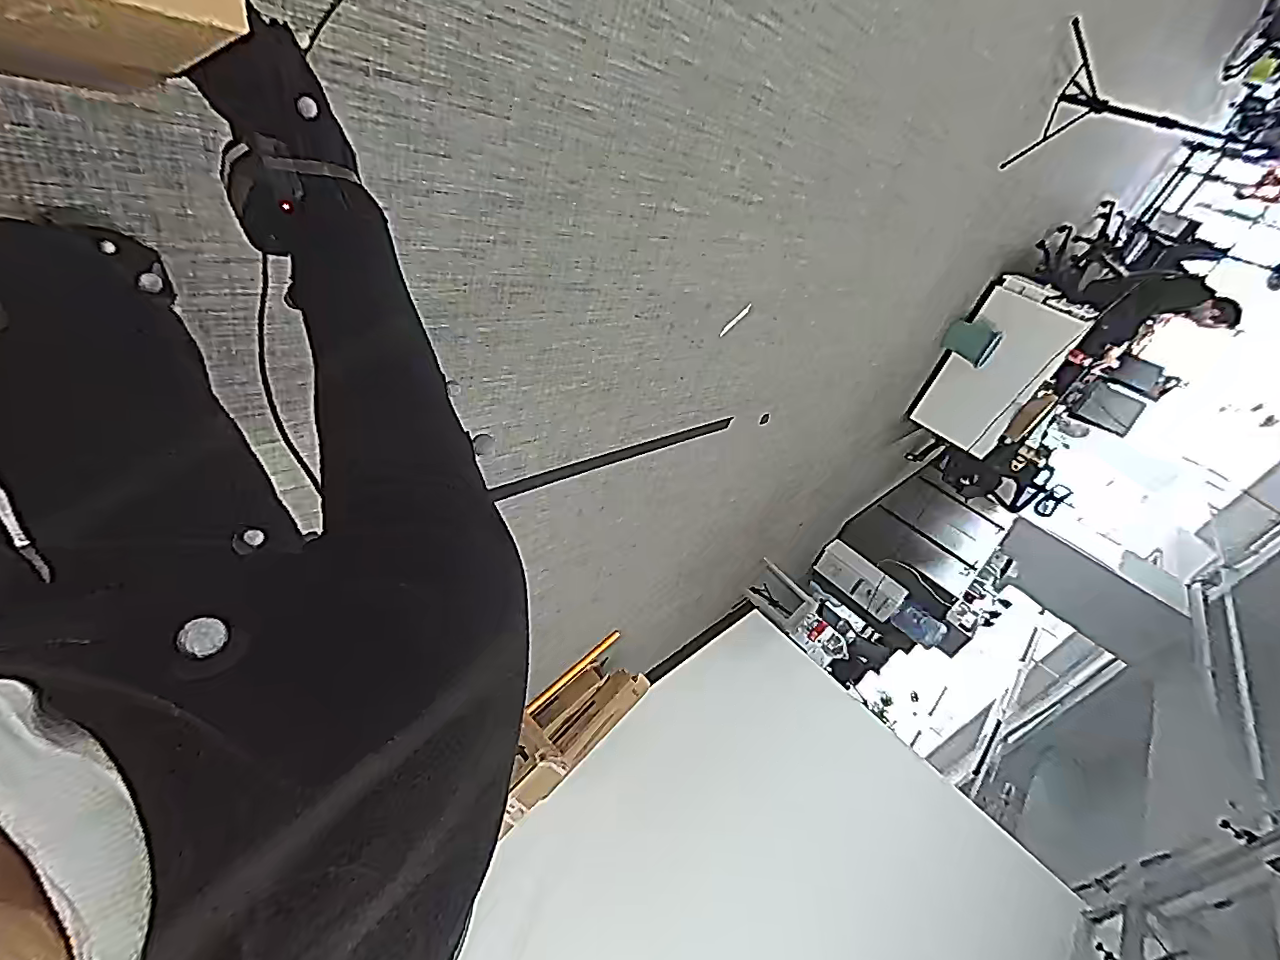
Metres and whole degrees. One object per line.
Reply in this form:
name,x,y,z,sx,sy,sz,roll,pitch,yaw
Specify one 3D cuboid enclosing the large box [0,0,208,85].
large box,-0.469,-0.379,0.184,0.408,0.320,0.320,-22,125,-44
